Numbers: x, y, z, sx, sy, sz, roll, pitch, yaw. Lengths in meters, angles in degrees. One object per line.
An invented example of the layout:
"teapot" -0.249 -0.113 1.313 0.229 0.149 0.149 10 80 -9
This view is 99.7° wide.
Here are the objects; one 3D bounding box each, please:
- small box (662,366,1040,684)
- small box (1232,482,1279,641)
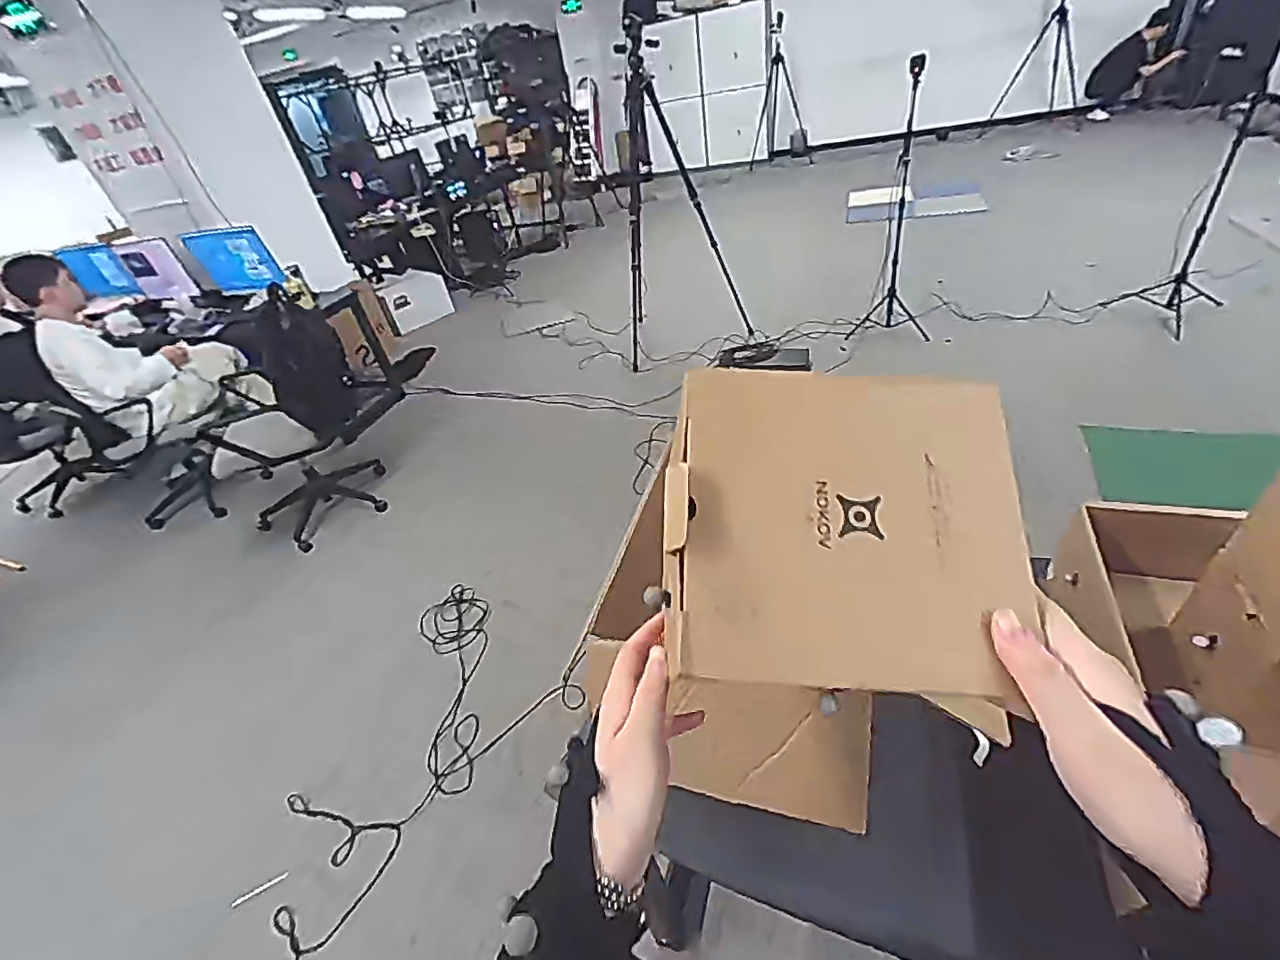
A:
"small box" 0.106 0.042 0.357 0.179 0.176 0.168 3 71 0
"small box" 0.748 0.079 0.526 0.168 0.176 0.179 5 42 23
